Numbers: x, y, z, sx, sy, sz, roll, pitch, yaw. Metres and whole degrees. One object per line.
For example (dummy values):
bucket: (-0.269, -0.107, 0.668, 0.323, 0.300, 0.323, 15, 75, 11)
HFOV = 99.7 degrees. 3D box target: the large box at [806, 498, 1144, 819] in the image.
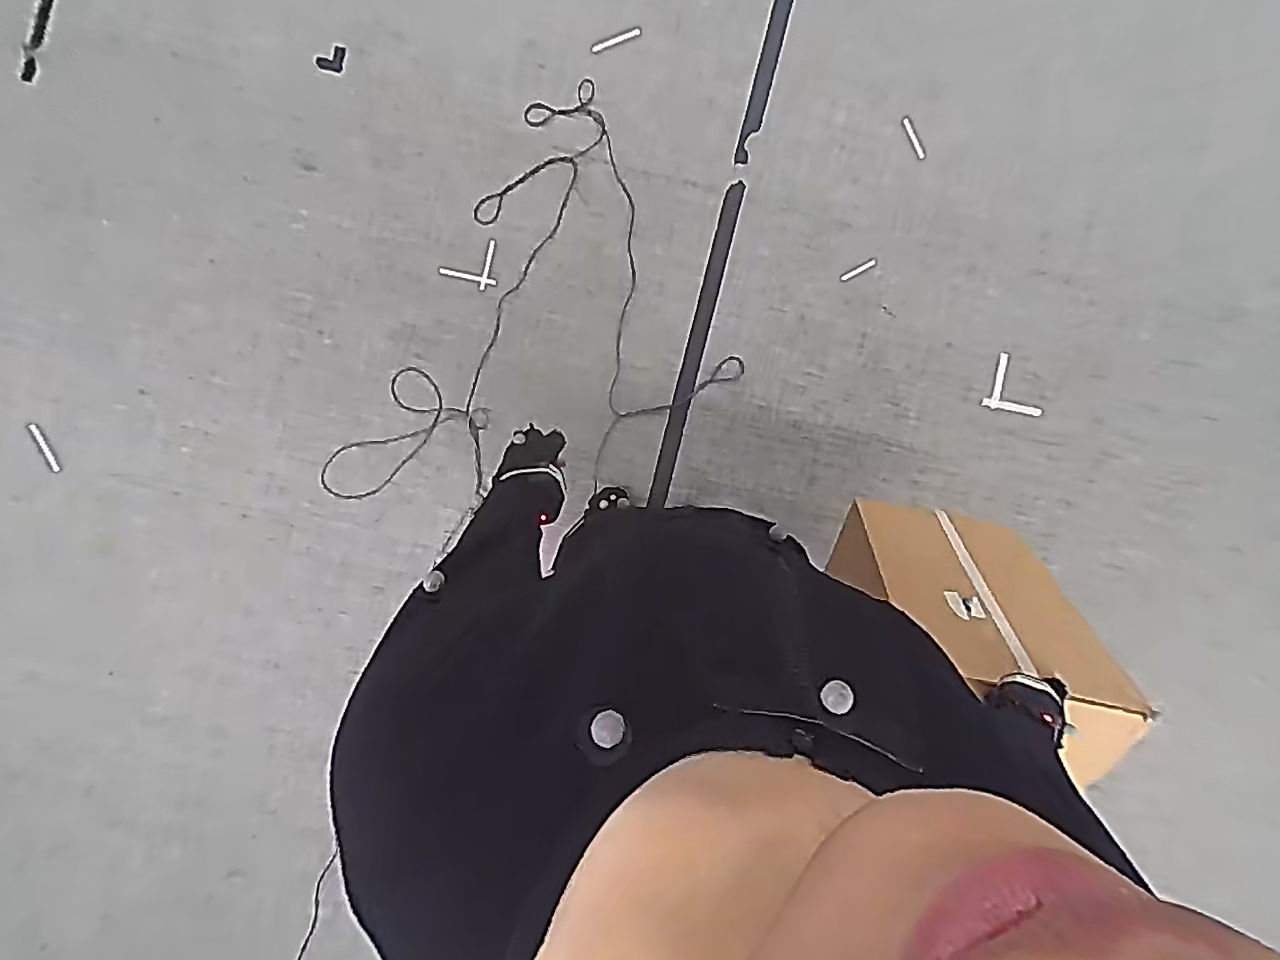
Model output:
large box: (0.513, 0.293, 0.956, 0.320, 0.408, 0.320, 11, 125, 2)
